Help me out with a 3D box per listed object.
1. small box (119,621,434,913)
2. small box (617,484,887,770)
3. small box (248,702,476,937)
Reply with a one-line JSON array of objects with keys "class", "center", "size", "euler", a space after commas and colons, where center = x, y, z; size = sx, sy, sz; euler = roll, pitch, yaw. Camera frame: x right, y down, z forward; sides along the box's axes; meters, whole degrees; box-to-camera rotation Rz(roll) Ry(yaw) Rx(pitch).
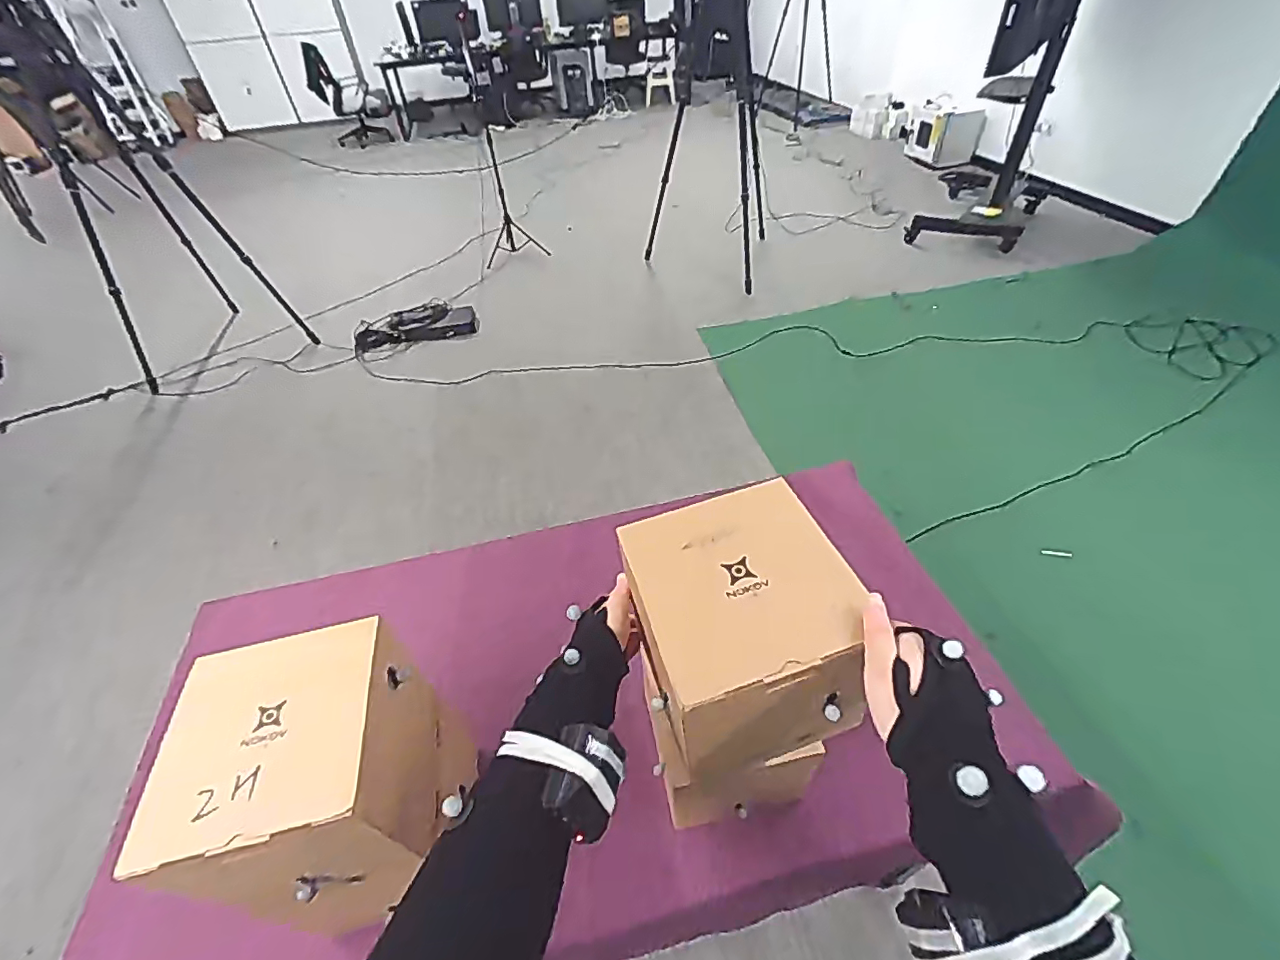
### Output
[{"class": "small box", "center": [-0.302, 0.265, 0.503], "size": [0.168, 0.176, 0.179], "euler": [-12, 46, -7]}, {"class": "small box", "center": [0.089, 0.138, 0.494], "size": [0.168, 0.176, 0.179], "euler": [-16, 44, -8]}, {"class": "small box", "center": [-0.291, 0.386, 0.616], "size": [0.179, 0.176, 0.168], "euler": [-13, 45, -9]}]
